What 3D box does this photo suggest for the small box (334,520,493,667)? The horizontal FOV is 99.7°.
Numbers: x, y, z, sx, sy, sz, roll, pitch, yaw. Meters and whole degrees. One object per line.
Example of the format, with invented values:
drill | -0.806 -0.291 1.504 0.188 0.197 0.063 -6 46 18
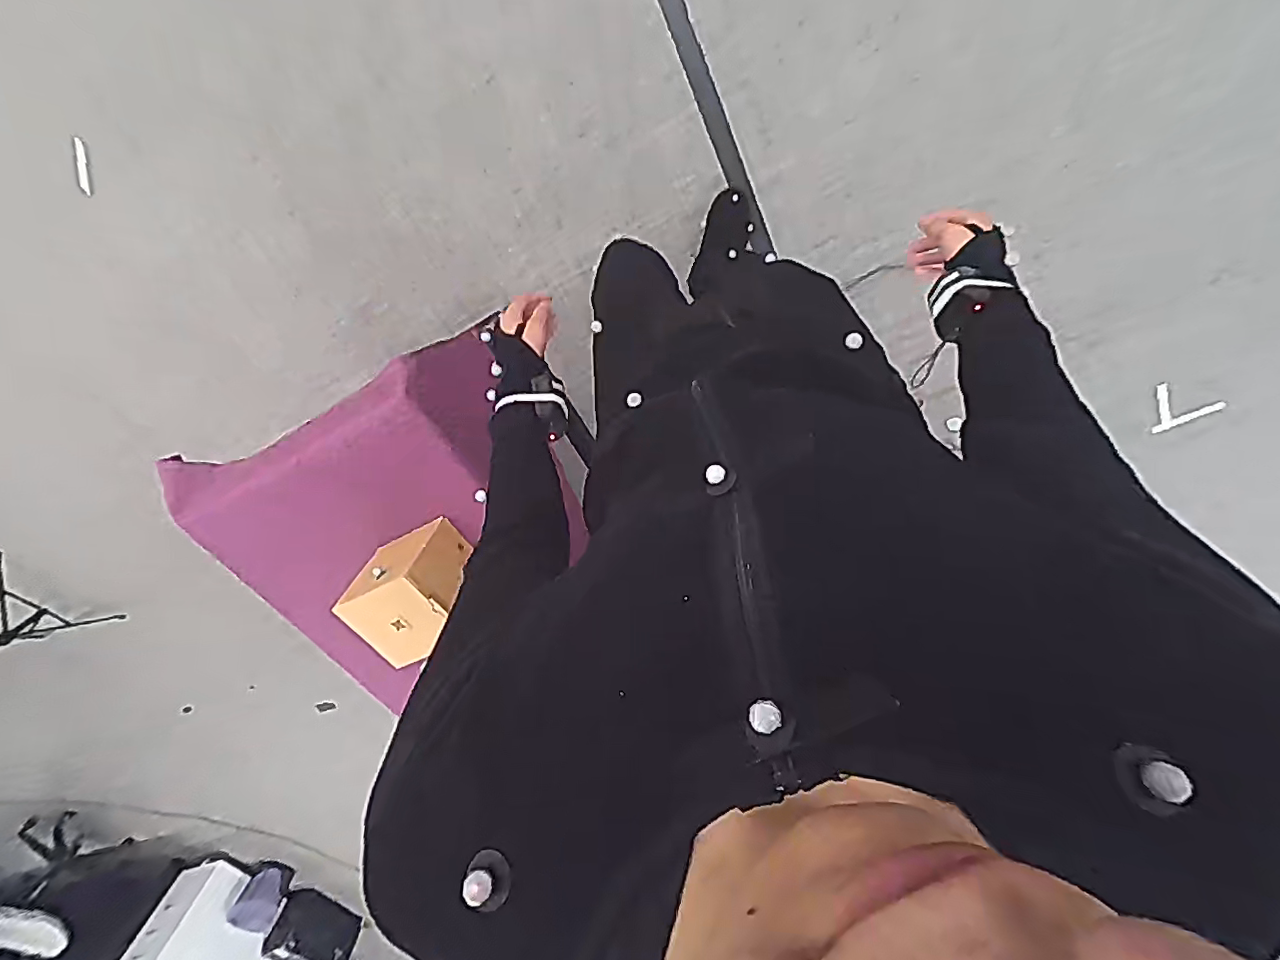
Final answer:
small box | -0.402 0.205 0.993 0.179 0.176 0.168 -25 116 18
